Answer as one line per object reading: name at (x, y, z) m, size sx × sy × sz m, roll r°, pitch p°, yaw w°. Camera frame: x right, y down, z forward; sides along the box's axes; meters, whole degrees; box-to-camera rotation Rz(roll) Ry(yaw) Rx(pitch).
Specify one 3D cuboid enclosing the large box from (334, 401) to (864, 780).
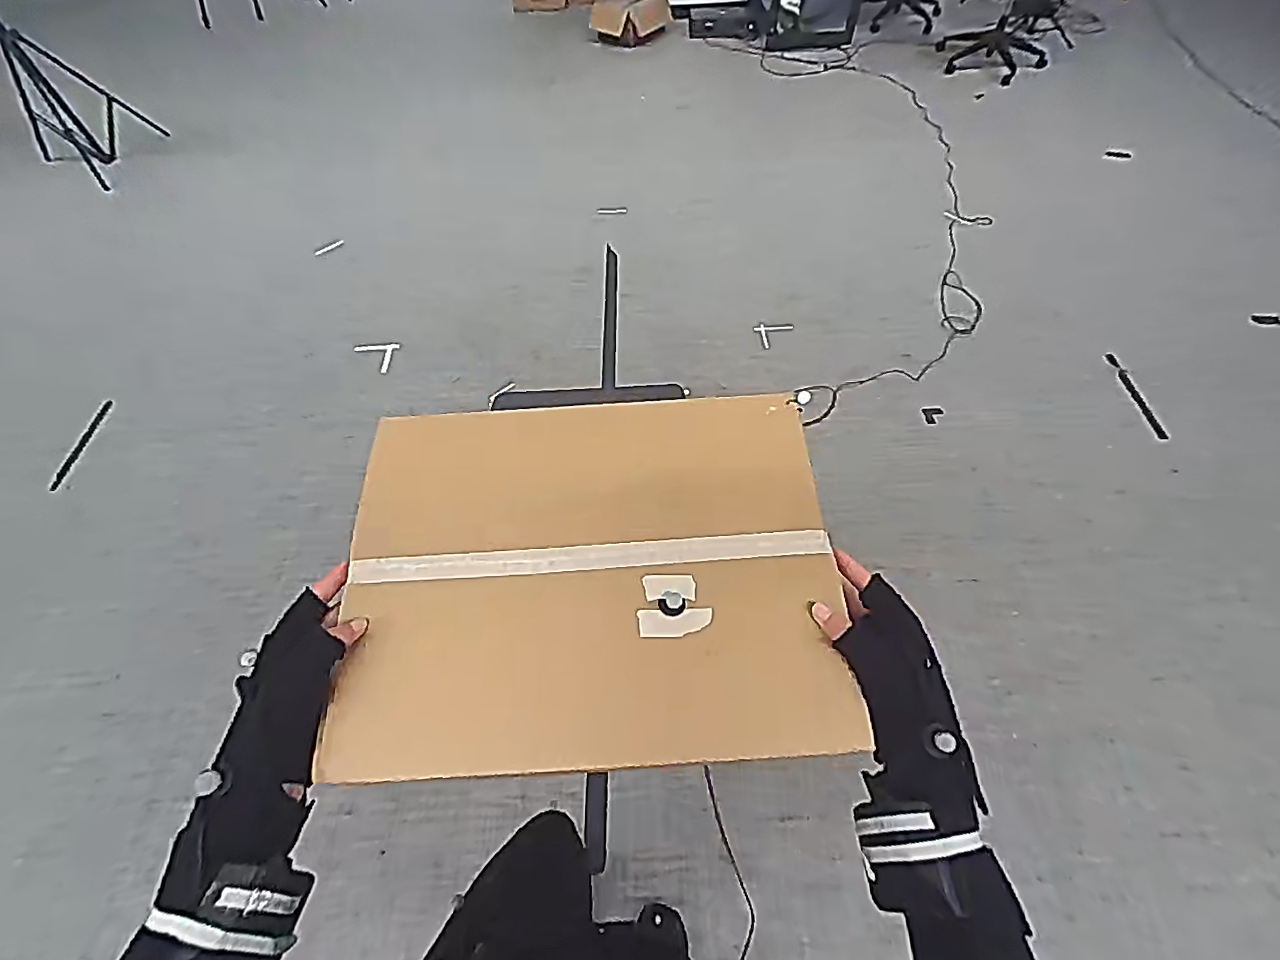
large box at (-0.037, 0.138, 0.599) m, size 0.408 × 0.320 × 0.320 m, roll -3°, pitch 63°, yaw -1°
